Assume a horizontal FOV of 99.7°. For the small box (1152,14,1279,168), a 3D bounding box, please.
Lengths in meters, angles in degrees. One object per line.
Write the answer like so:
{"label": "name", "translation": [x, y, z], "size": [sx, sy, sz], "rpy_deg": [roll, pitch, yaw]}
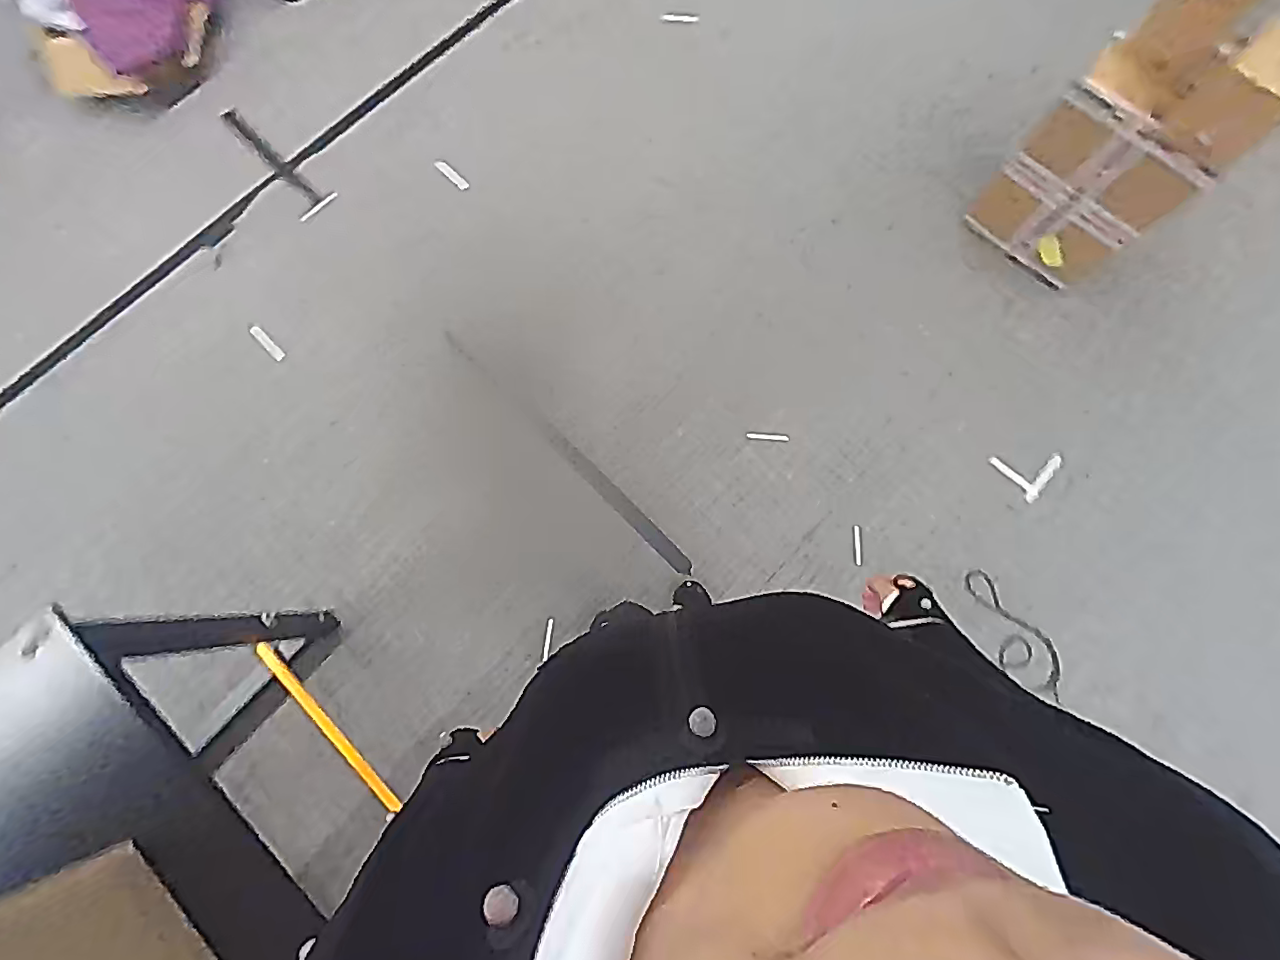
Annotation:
{"label": "small box", "translation": [1.288, -0.833, 1.172], "size": [0.168, 0.176, 0.179], "rpy_deg": [43, 83, 9]}
